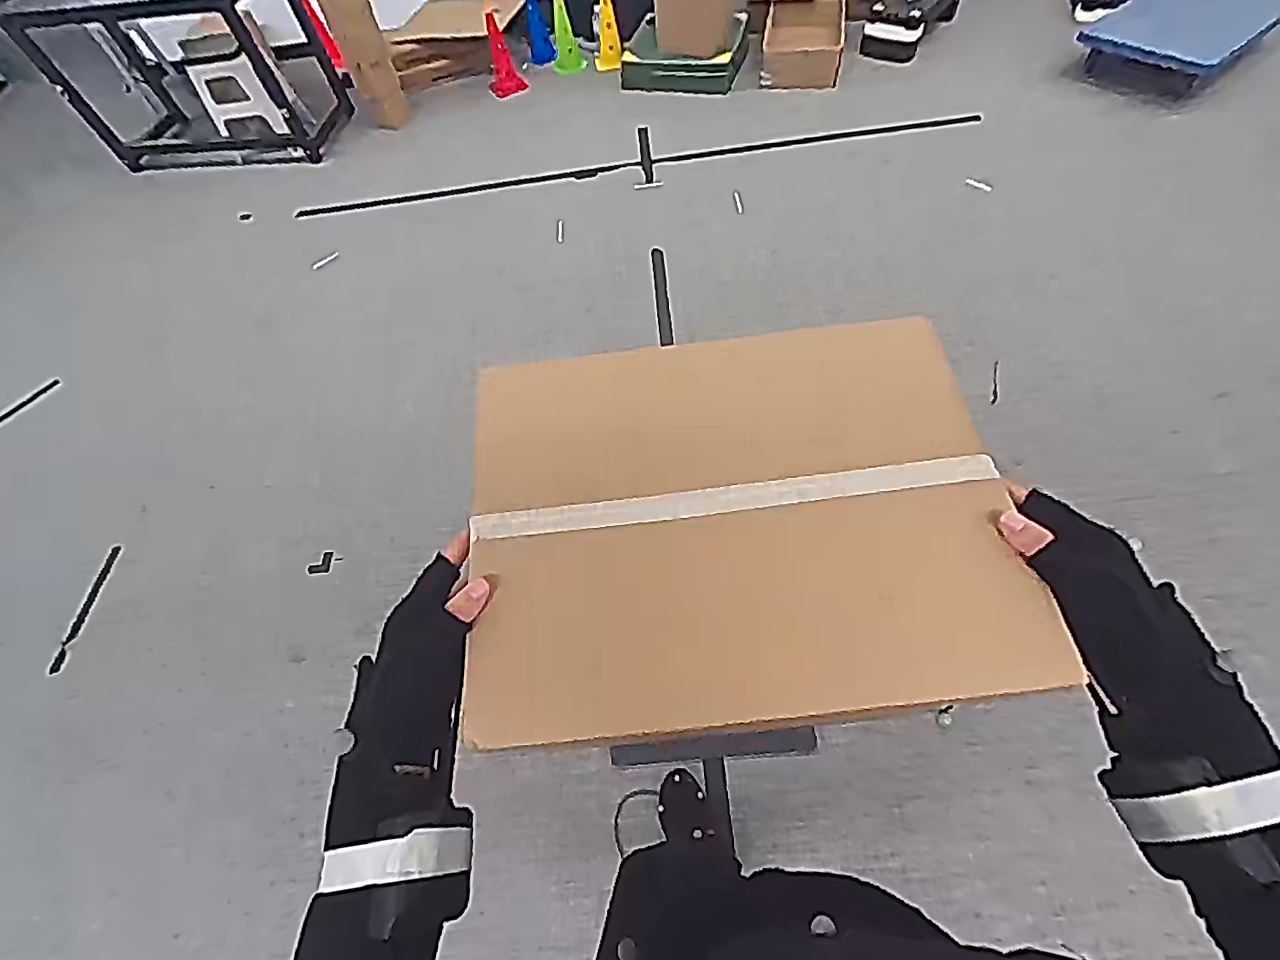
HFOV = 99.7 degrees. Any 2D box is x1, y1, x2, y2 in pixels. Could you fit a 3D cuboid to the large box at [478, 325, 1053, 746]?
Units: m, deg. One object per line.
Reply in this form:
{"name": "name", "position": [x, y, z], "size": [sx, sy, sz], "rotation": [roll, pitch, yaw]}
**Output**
{"name": "large box", "position": [0.082, 0.082, 0.565], "size": [0.408, 0.320, 0.320], "rotation": [-7, 63, 1]}

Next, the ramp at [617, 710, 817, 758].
{"name": "ramp", "position": [0.145, 0.186, 1.478], "size": [0.509, 0.206, 0.991], "rotation": [-7, 59, 1]}
